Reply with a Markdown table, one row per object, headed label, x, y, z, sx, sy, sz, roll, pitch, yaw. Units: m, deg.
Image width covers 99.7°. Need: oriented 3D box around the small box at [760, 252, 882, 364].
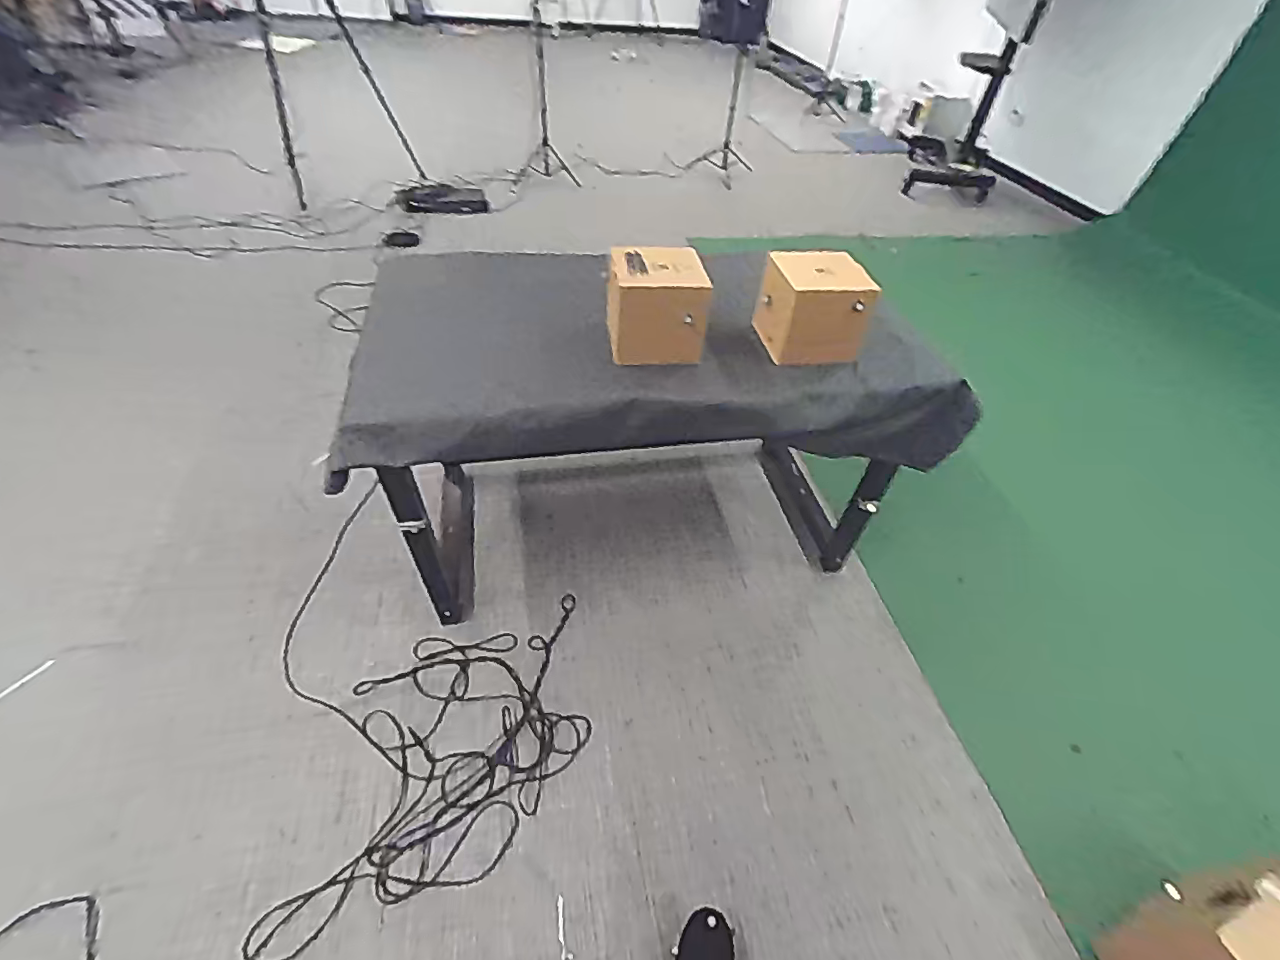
| label | x | y | z | sx | sy | sz | roll | pitch | yaw |
| --- | --- | --- | --- | --- | --- | --- | --- | --- | --- |
| small box | 0.358 | -0.353 | 1.117 | 0.179 | 0.176 | 0.168 | -4 | 47 | -9 |
